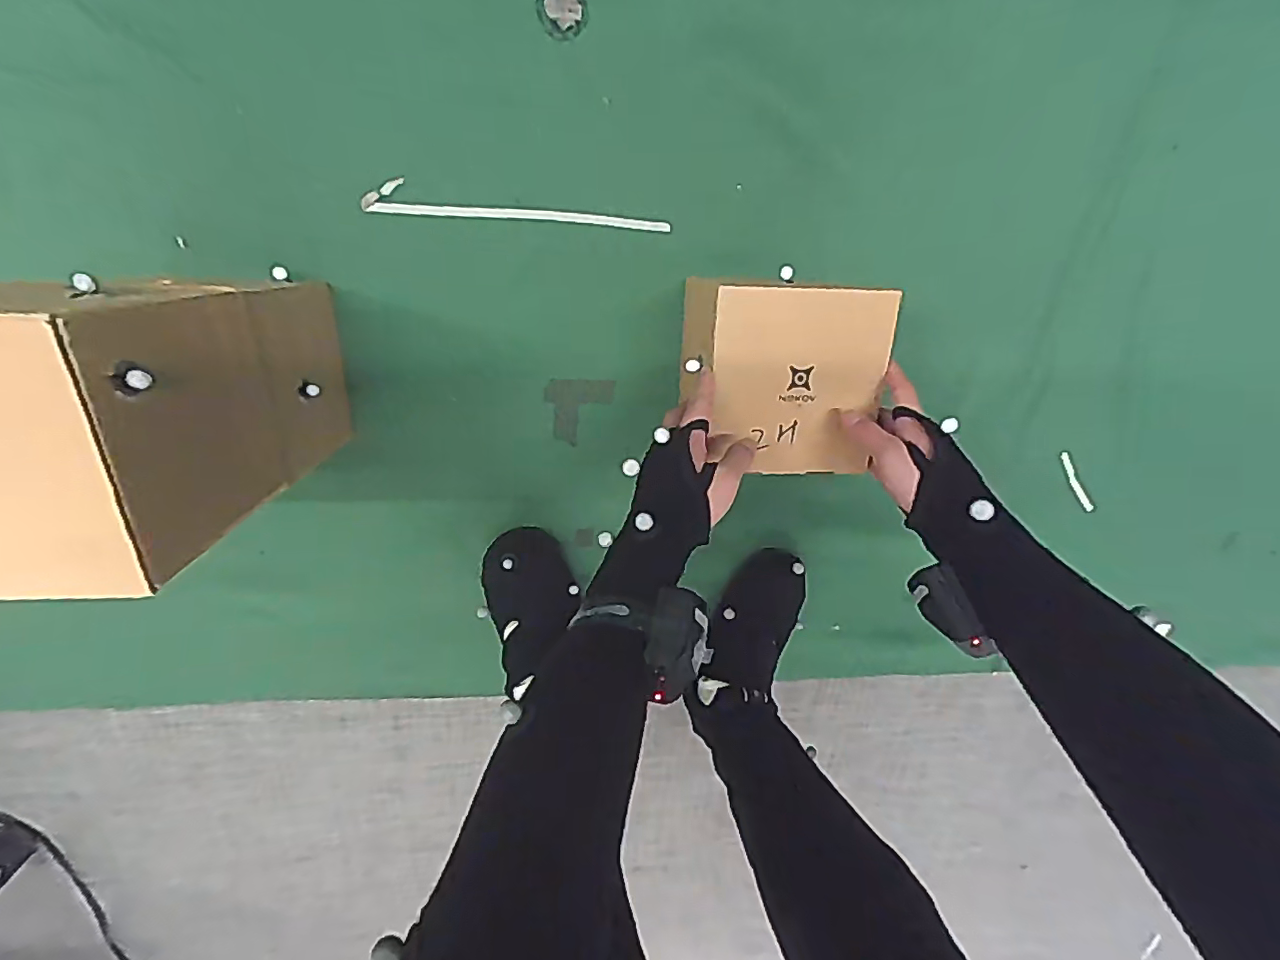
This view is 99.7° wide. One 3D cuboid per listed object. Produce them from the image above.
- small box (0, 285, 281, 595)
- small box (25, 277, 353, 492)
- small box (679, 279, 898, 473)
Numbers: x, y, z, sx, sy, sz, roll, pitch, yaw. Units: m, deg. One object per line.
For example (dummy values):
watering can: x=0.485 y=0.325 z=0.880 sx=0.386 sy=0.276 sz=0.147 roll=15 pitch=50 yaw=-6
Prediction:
small box: x=-0.391 y=-0.038 z=0.381 sx=0.168 sy=0.176 sz=0.179 roll=0 pitch=112 yaw=-5
small box: x=-0.408 y=-0.101 z=0.529 sx=0.168 sy=0.176 sz=0.179 roll=1 pitch=113 yaw=-5
small box: x=0.137 y=-0.117 z=0.570 sx=0.168 sy=0.176 sz=0.179 roll=0 pitch=112 yaw=-5
